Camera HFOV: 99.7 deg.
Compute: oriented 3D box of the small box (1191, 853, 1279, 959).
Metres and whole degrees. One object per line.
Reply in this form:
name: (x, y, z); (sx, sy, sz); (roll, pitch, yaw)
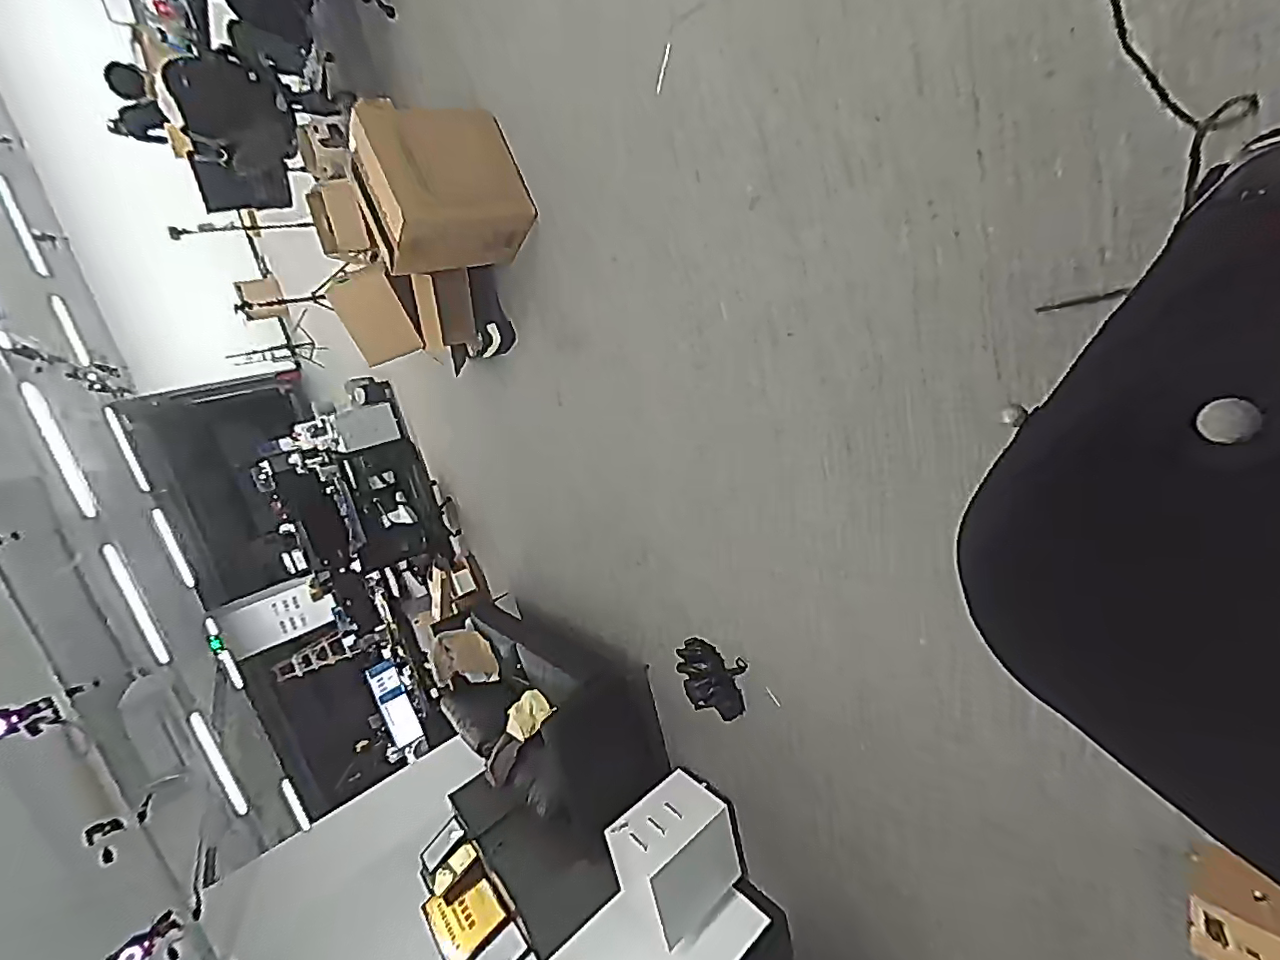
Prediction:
small box: (1.334, 0.960, 1.170); (0.179, 0.176, 0.168); (4, 113, 52)
